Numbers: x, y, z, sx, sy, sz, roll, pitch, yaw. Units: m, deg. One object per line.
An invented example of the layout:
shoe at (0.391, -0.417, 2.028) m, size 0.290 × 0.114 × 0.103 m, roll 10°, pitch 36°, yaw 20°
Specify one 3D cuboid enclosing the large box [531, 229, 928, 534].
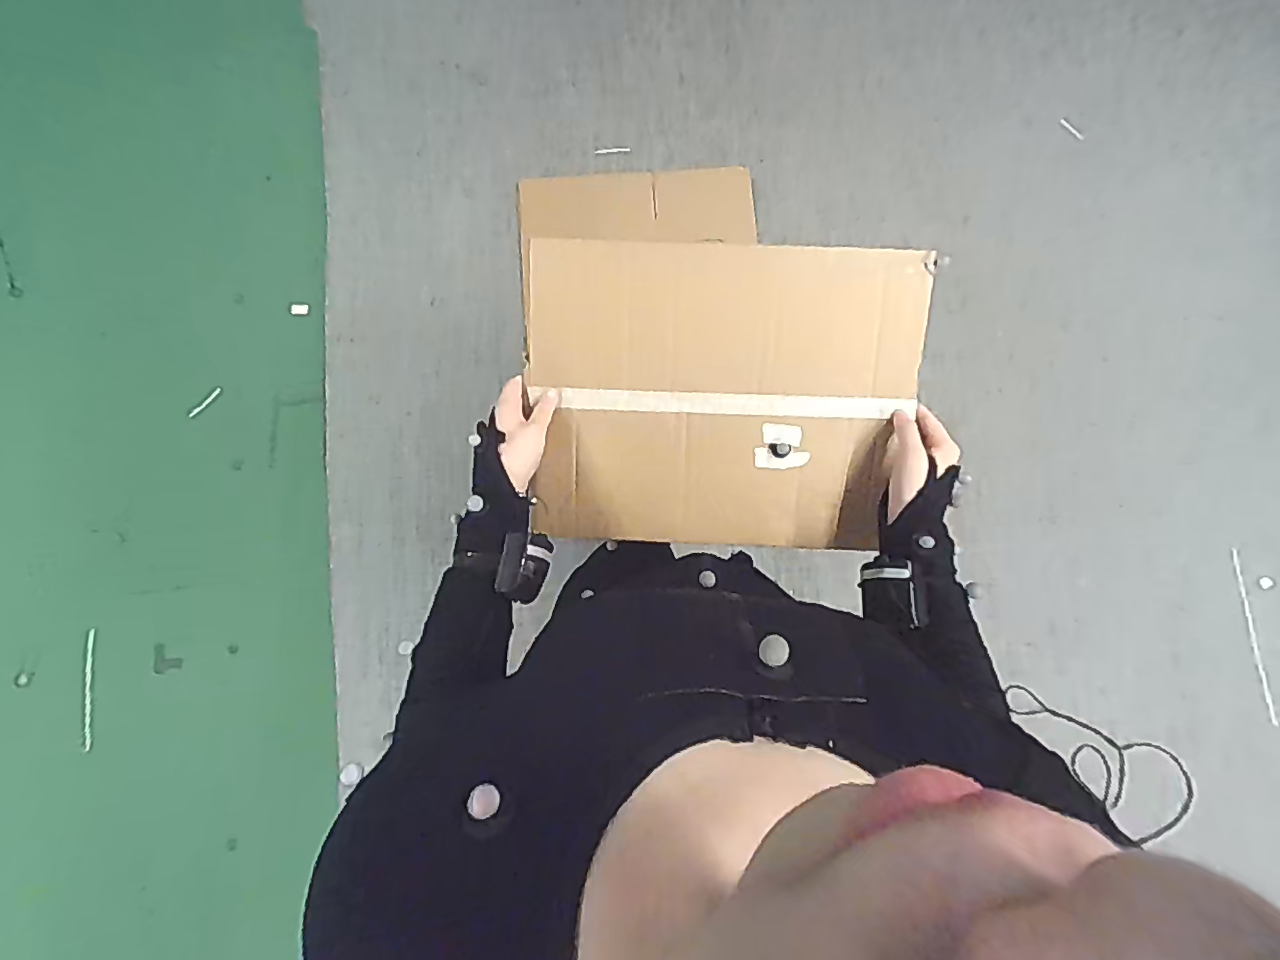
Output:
large box at (0.085, -0.122, 0.711) m, size 0.408 × 0.320 × 0.320 m, roll 2°, pitch 102°, yaw 0°
